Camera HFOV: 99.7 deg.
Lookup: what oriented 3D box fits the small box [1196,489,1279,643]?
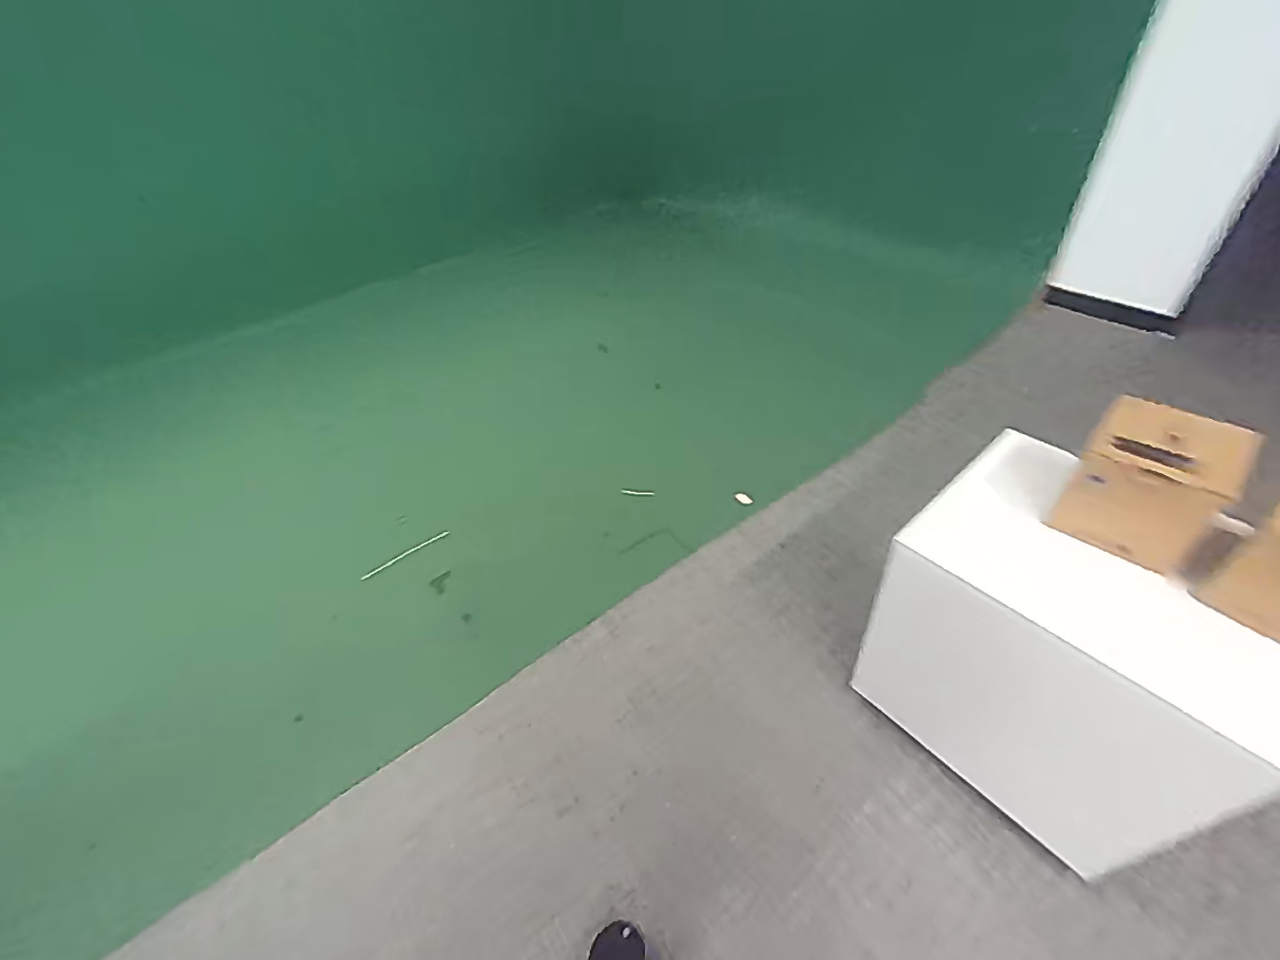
[{"bbox_3d":[0.896,0.112,0.707,0.179,0.176,0.168,-30,47,-21],"label":"small box"}]
